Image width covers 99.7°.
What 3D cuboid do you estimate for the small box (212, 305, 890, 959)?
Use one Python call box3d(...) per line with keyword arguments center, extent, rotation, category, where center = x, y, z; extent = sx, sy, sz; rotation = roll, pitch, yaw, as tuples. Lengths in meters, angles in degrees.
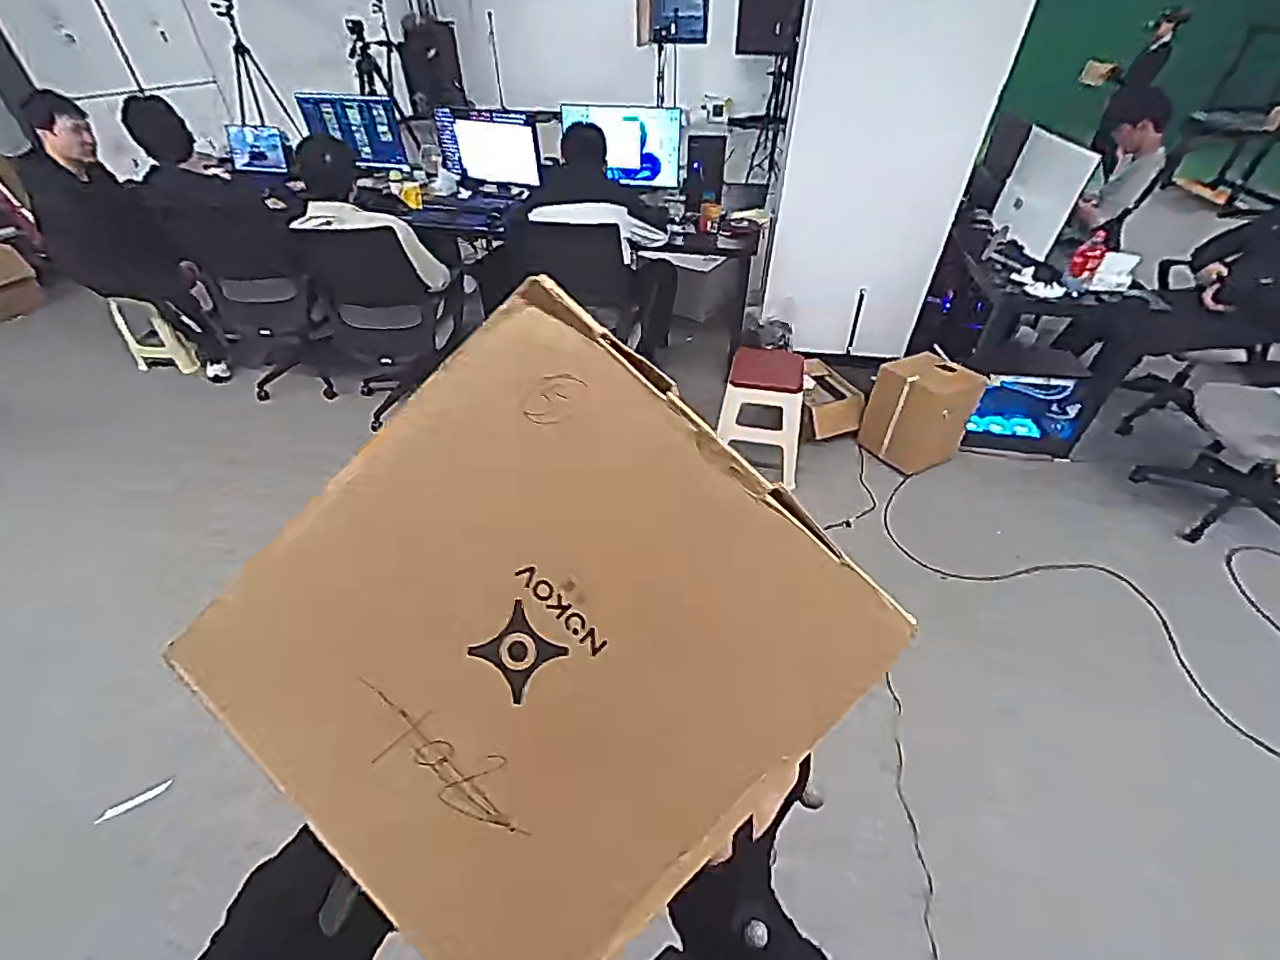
box3d(center=(-0.028, 0.060, 0.260), extent=(0.168, 0.176, 0.179), rotation=(43, 89, 8), category="small box")
